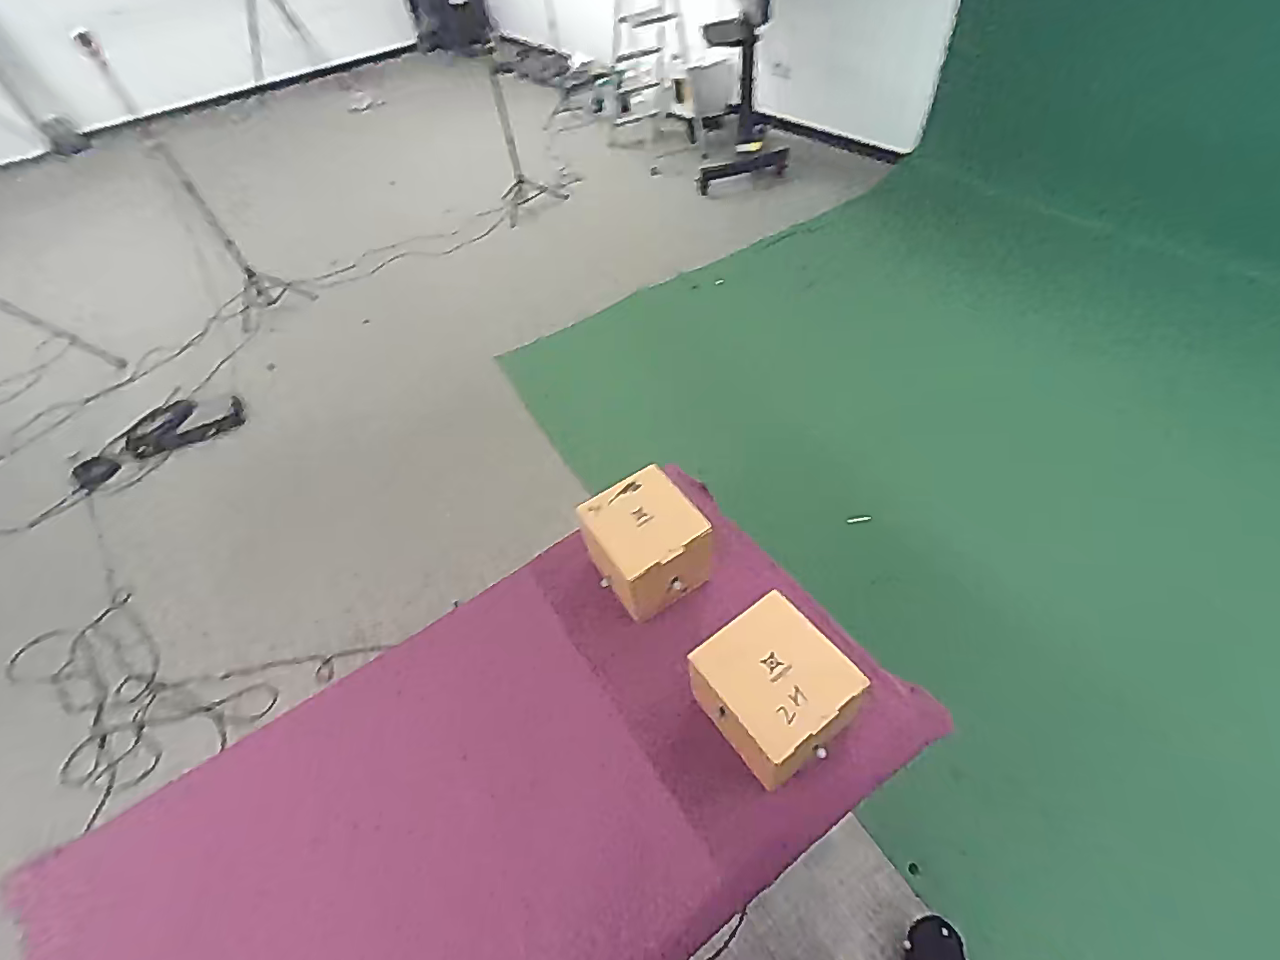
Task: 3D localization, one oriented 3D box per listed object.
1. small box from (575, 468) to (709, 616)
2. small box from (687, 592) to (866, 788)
[{"bbox_3d":[0.008,0.119,0.962,0.168,0.176,0.179,-30,55,-16],"label":"small box"},{"bbox_3d":[0.187,0.303,0.778,0.168,0.176,0.179,-32,51,-16],"label":"small box"}]
